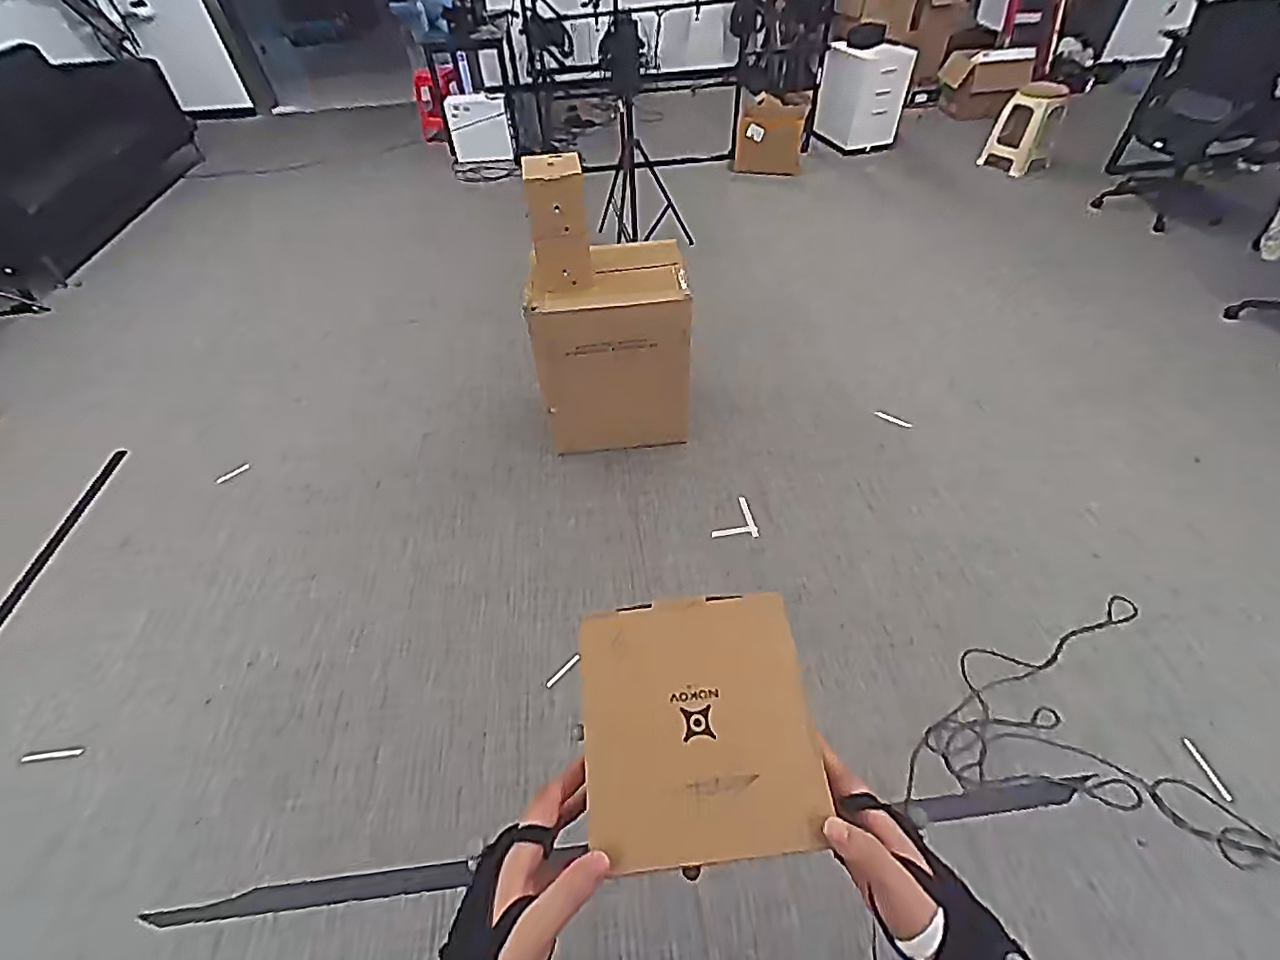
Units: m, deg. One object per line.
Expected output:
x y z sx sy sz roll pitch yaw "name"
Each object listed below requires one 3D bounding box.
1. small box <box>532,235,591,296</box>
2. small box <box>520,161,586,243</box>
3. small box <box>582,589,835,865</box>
-0.249 -0.707 1.721 0.168 0.176 0.179 -7 49 -4 "small box"
-0.256 -0.817 1.599 0.168 0.176 0.179 -8 49 -5 "small box"
0.041 0.212 0.463 0.168 0.176 0.179 -6 58 -2 "small box"
